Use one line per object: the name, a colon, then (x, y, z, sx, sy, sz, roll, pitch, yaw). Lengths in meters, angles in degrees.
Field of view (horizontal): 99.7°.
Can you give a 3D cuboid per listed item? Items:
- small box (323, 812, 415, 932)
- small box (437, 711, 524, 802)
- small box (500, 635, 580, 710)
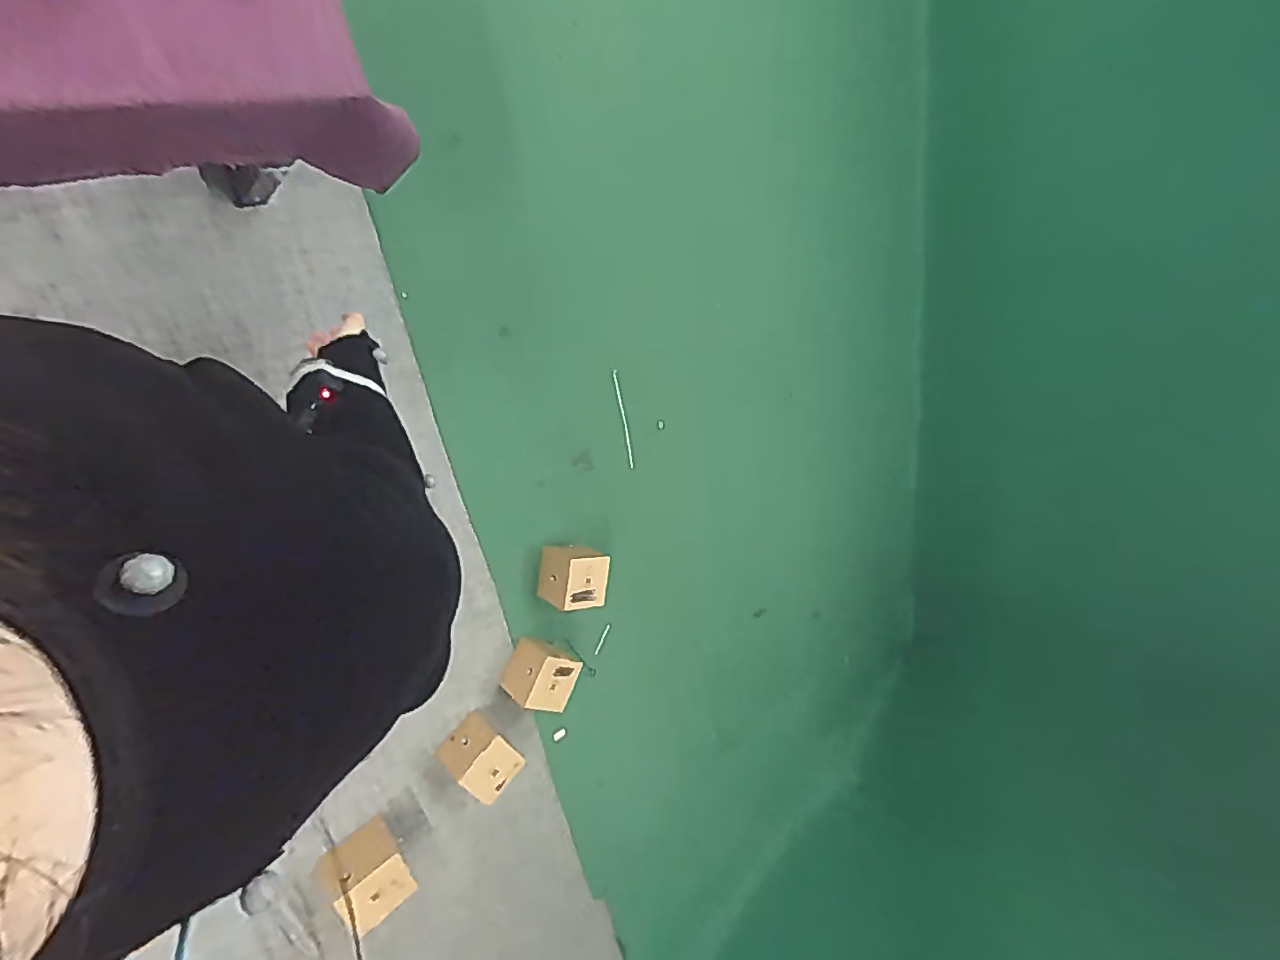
small box: (-0.774, 1.103, 1.533, 0.179, 0.176, 0.168, -29, 119, -34)
small box: (-0.511, 0.867, 1.717, 0.168, 0.176, 0.179, -45, 126, -26)
small box: (-0.340, 0.643, 1.818, 0.168, 0.176, 0.179, 31, 80, -42)
